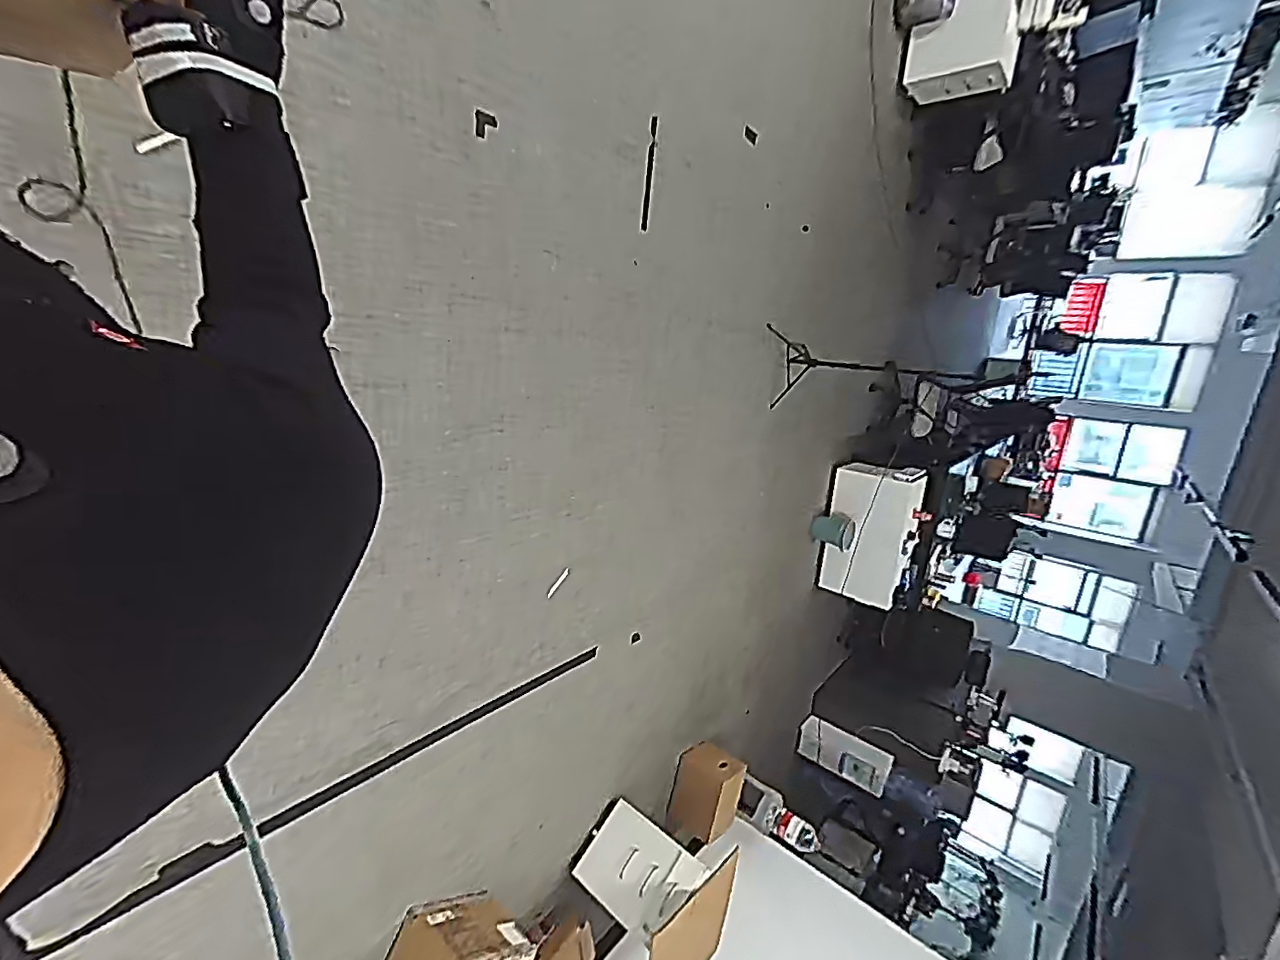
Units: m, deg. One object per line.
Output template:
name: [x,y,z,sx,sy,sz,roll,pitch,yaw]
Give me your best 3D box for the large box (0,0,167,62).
large box: [-0.544,-0.461,0.255,0.408,0.320,0.320,-19,124,-46]
